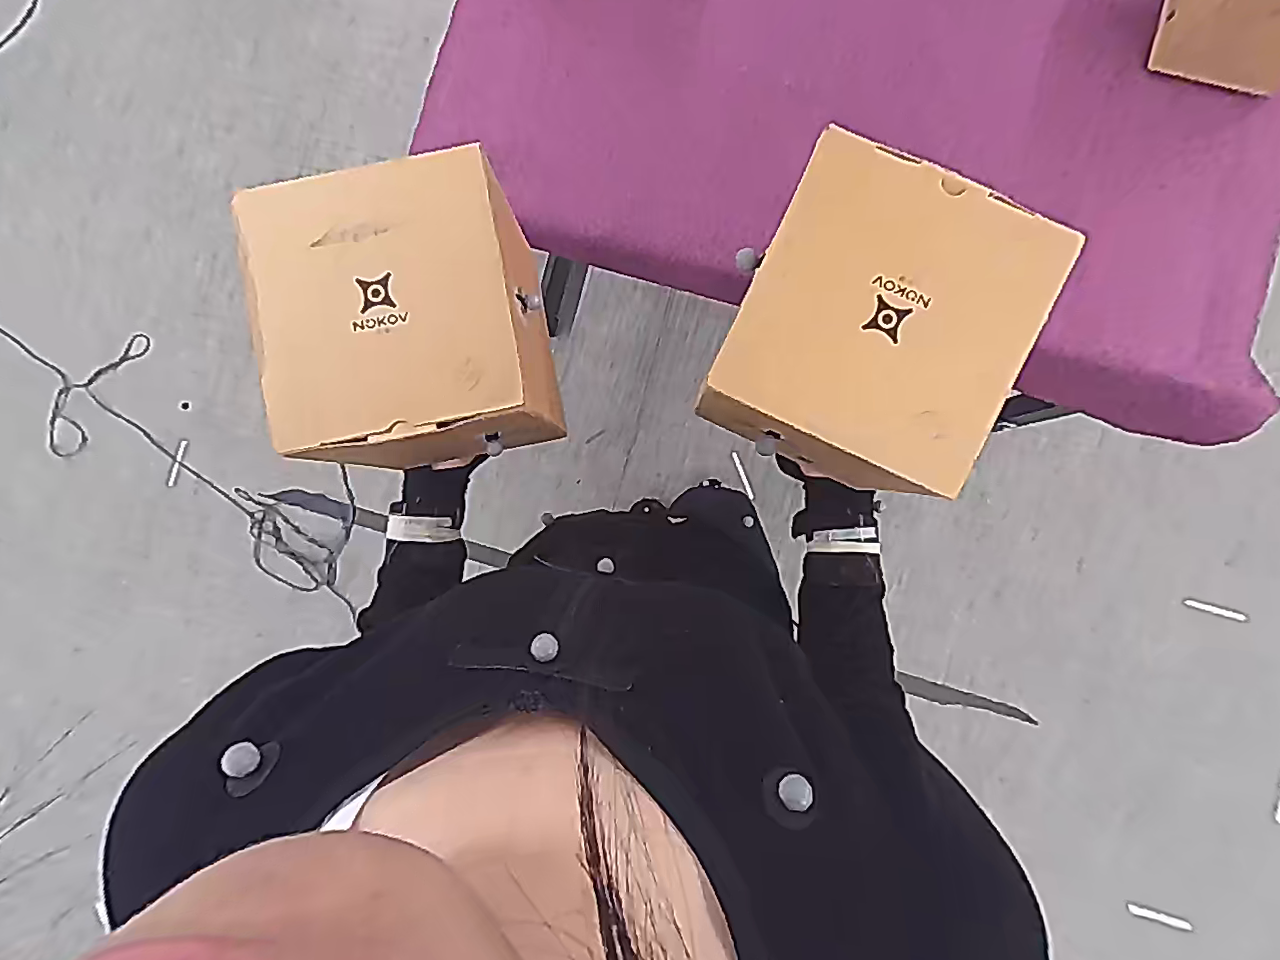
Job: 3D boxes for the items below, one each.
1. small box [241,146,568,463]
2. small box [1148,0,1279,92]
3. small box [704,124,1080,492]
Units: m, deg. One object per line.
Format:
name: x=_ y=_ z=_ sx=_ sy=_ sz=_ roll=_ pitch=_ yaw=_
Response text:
small box: x=-0.160 y=-0.112 z=0.425 sx=0.168 sy=0.176 sz=0.179 roll=-12 pitch=87 yaw=0
small box: x=0.804 y=-0.631 z=0.673 sx=0.179 sy=0.176 sz=0.168 roll=16 pitch=89 yaw=3
small box: x=0.156 y=-0.103 z=0.404 sx=0.168 sy=0.176 sz=0.179 roll=25 pitch=91 yaw=3
